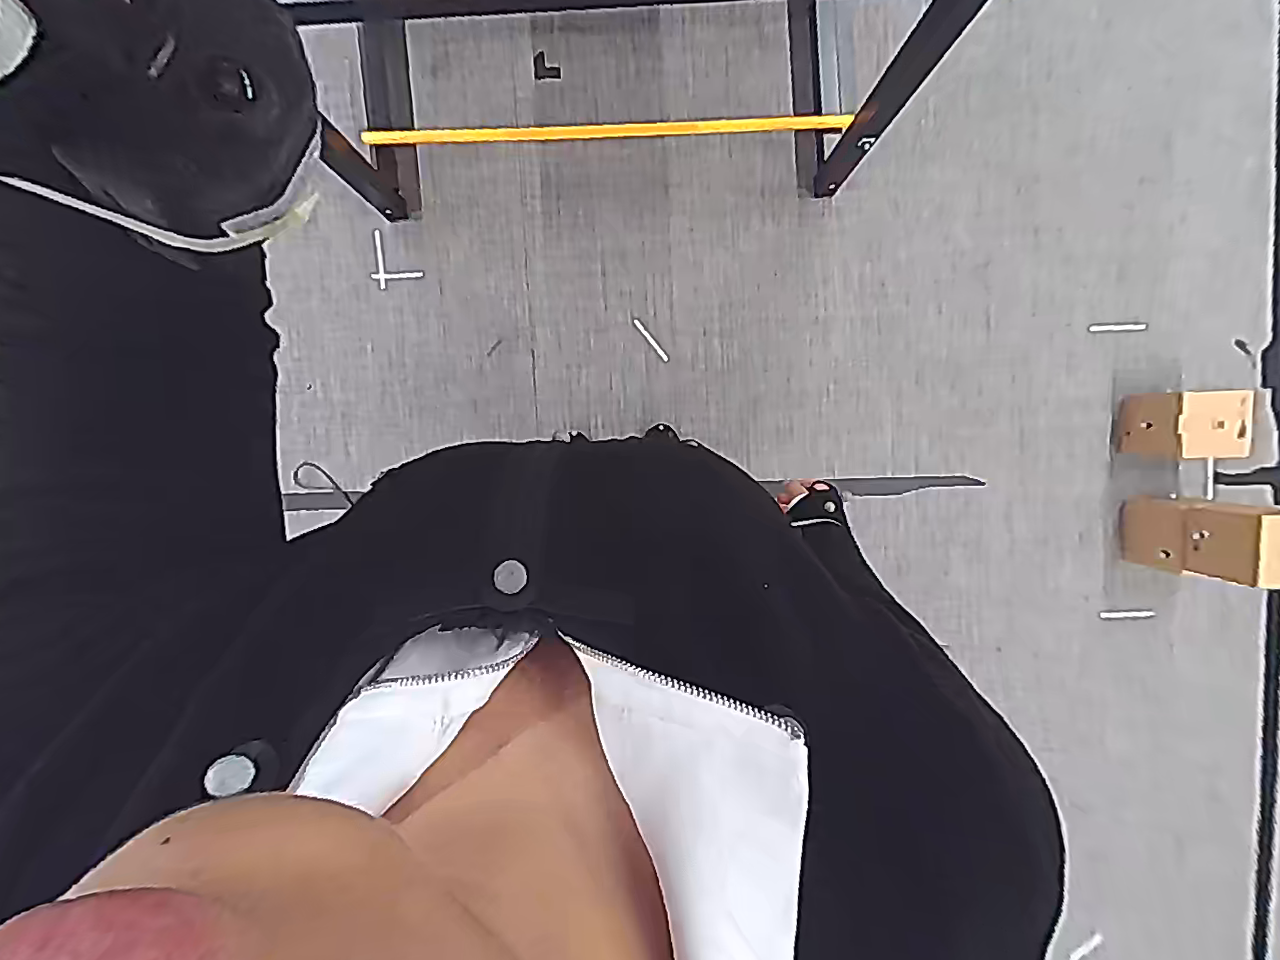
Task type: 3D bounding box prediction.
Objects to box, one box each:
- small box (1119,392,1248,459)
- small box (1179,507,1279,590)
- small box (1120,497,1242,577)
[{"bbox_3d":[1.403,-0.139,1.408,0.179,0.176,0.168,0,94,0],"label":"small box"},{"bbox_3d":[1.436,0.154,1.269,0.179,0.176,0.168,-2,94,1],"label":"small box"},{"bbox_3d":[1.423,0.146,1.431,0.168,0.176,0.179,-4,95,0],"label":"small box"}]
